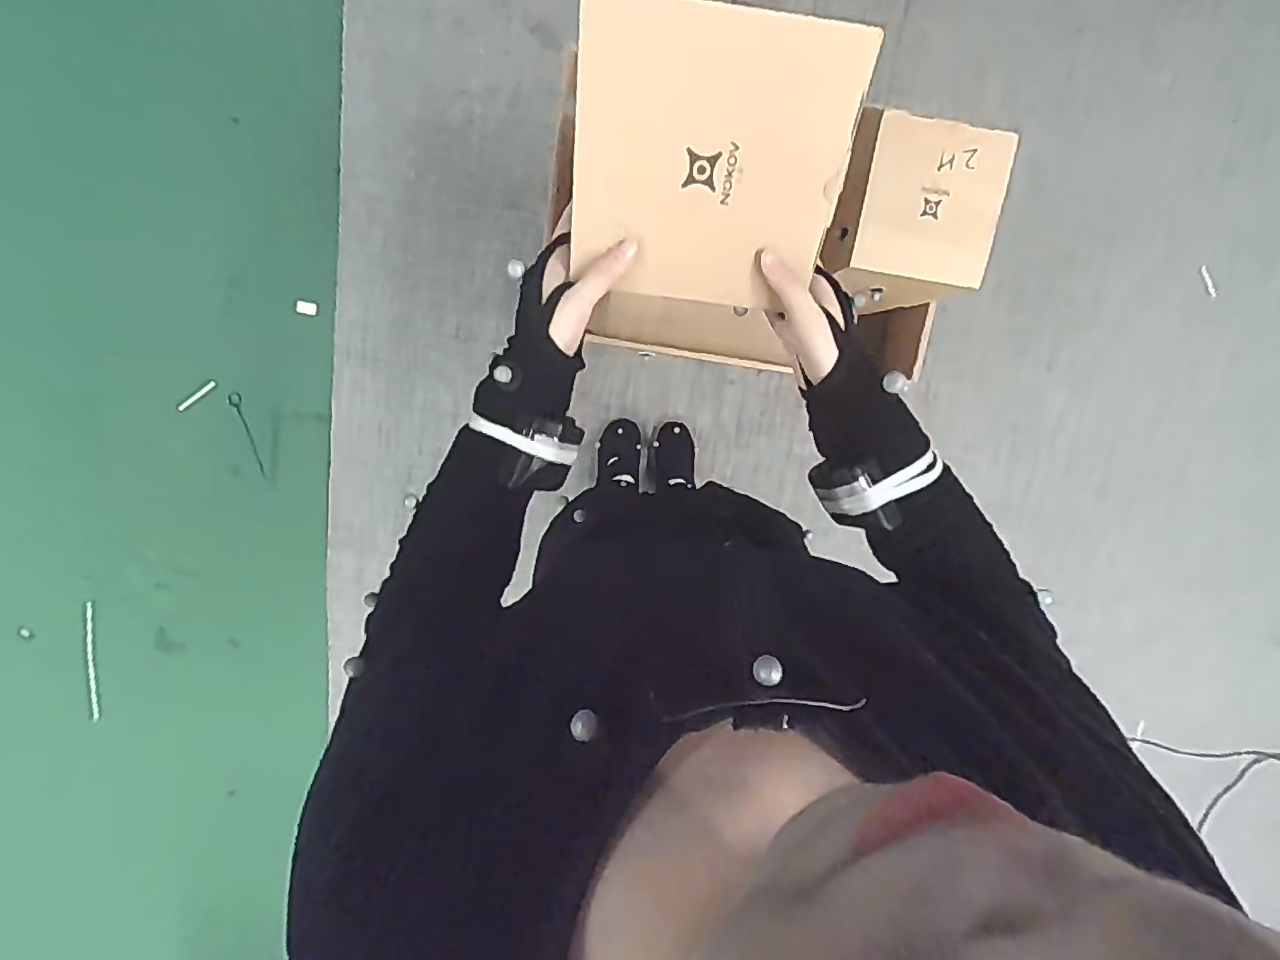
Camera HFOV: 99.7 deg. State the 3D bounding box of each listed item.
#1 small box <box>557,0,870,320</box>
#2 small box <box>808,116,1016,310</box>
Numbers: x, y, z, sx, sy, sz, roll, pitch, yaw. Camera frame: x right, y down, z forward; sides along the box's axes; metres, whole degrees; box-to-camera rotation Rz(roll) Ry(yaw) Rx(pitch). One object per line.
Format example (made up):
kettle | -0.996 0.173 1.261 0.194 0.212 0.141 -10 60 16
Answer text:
small box | 0.037 -0.238 0.414 0.179 0.176 0.168 5 125 -4
small box | 0.336 -0.331 0.709 0.168 0.176 0.179 9 100 -4
